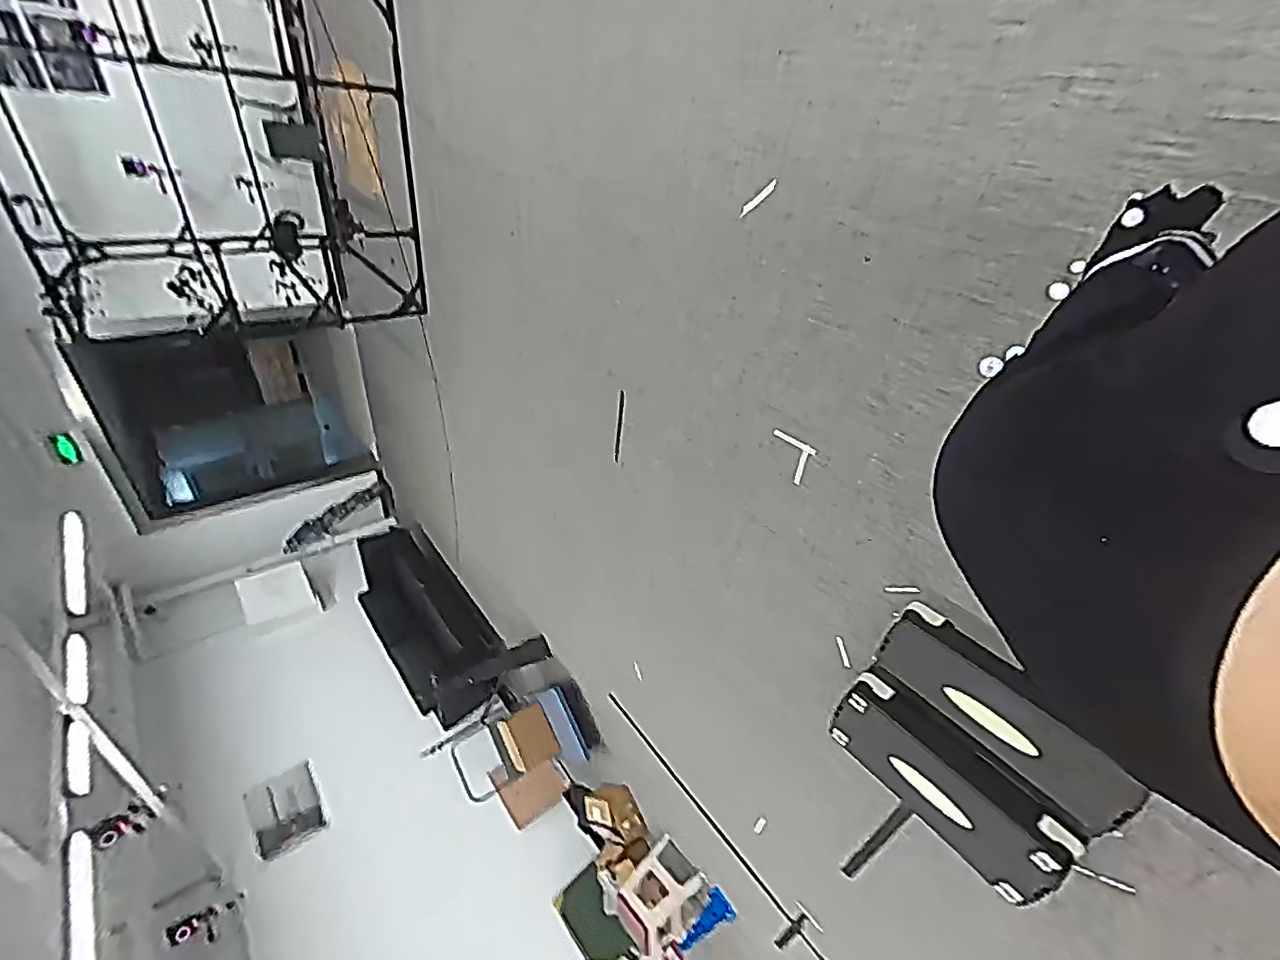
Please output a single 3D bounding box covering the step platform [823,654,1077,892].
[{"bbox_3d":[0.920,0.891,1.699,0.684,0.204,0.286,39,135,38],"label":"step platform"}]
